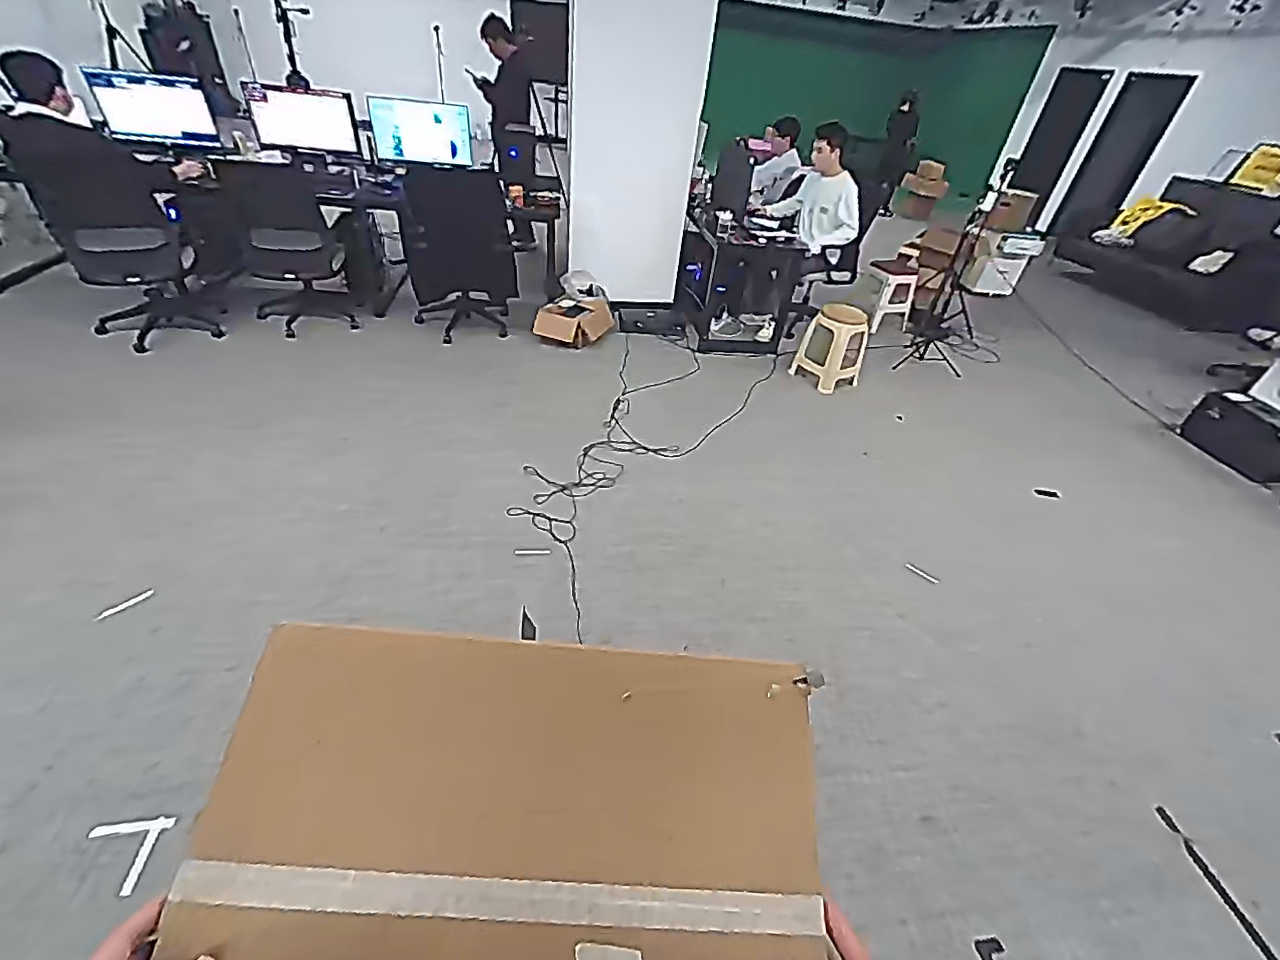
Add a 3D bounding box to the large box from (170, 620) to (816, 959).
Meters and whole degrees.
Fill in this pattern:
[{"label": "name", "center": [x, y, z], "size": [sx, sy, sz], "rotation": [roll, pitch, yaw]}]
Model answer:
[{"label": "large box", "center": [-0.095, 0.327, 0.488], "size": [0.408, 0.320, 0.320], "rotation": [6, 64, -3]}]
